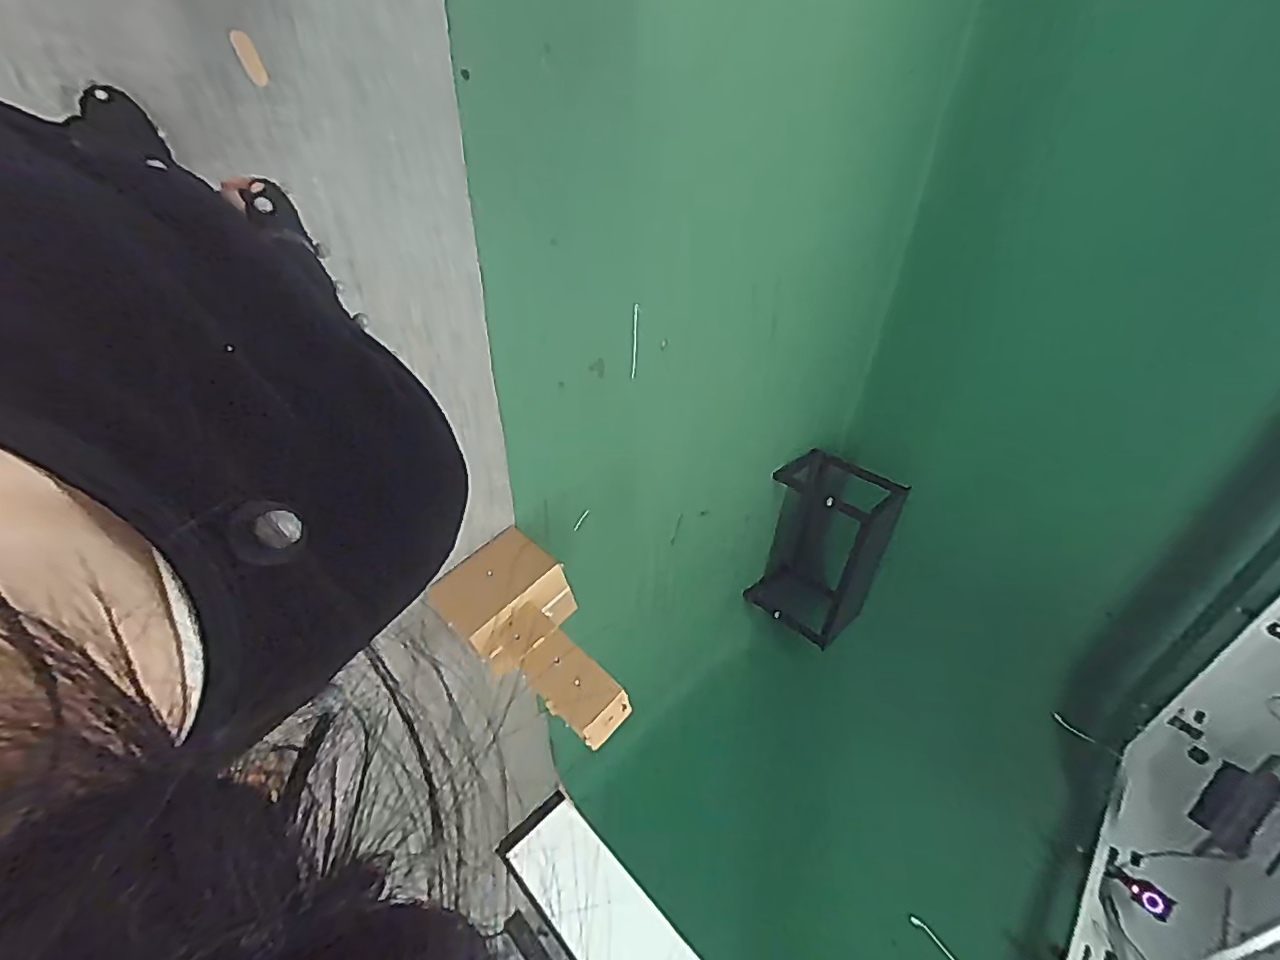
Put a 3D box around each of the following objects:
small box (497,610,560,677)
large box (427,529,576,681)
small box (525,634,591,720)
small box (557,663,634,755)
[{"bbox_3d":[-0.379,0.586,1.911,0.168,0.176,0.179,-39,140,-26],"label":"small box"},{"bbox_3d":[-0.520,0.470,2.079,0.408,0.320,0.320,-41,142,-27],"label":"large box"},{"bbox_3d":[-0.265,0.658,1.818,0.179,0.176,0.168,-40,140,-26],"label":"small box"},{"bbox_3d":[-0.147,0.726,1.726,0.179,0.176,0.168,-38,140,-25],"label":"small box"}]
